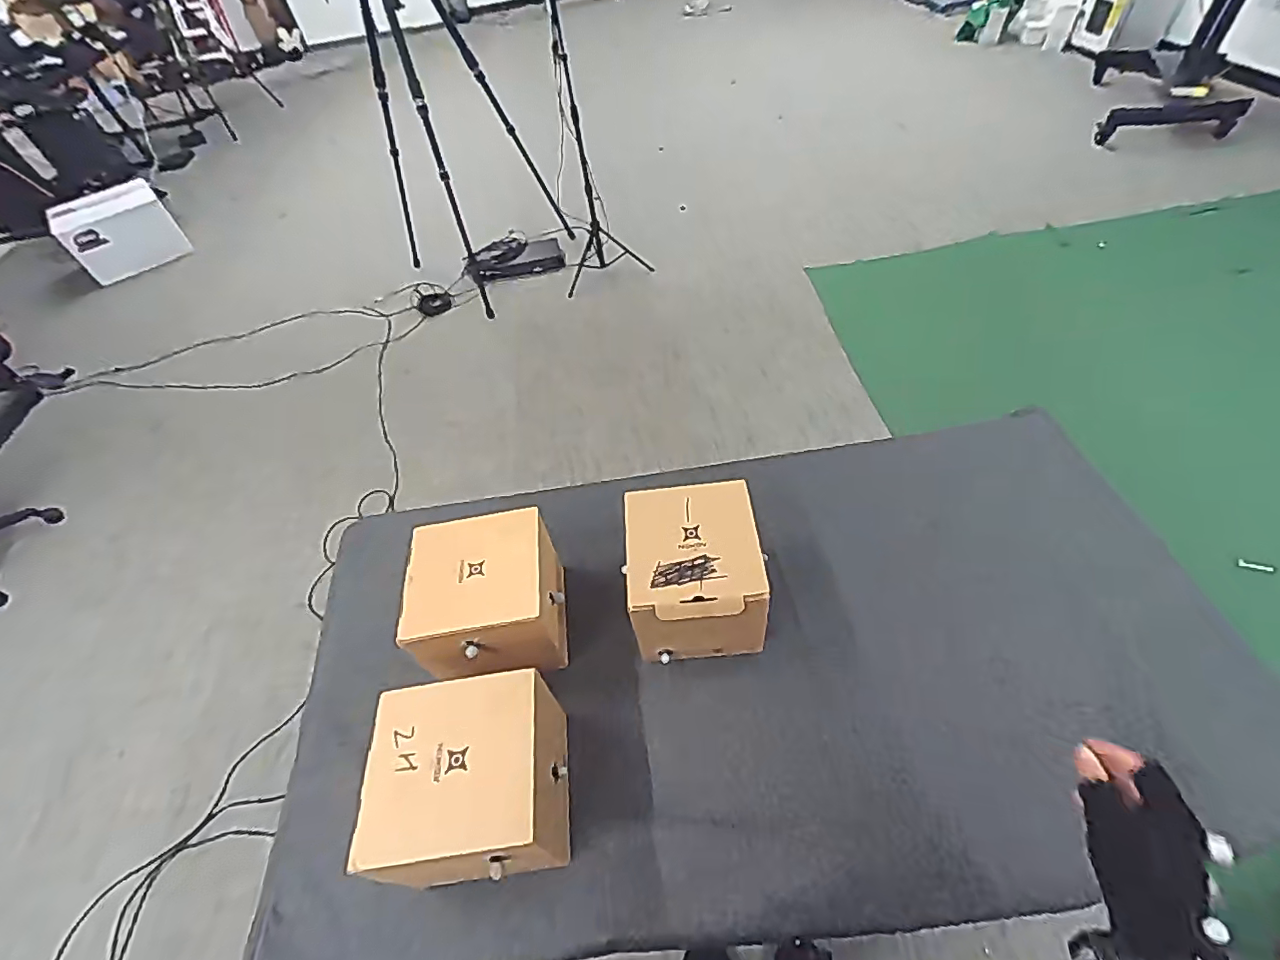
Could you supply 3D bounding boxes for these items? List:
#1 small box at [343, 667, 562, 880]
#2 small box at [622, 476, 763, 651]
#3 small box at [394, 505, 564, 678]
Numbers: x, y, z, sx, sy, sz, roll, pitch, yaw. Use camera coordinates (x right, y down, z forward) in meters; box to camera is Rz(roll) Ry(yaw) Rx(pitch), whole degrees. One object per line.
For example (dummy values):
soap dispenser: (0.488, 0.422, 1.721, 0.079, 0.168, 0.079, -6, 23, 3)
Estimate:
small box: (-0.185, 0.328, 0.600, 0.179, 0.176, 0.168, -9, 49, 1)
small box: (0.069, 0.120, 0.732, 0.168, 0.176, 0.179, -6, 50, 4)
small box: (-0.206, 0.159, 0.746, 0.179, 0.176, 0.168, -11, 51, 1)
